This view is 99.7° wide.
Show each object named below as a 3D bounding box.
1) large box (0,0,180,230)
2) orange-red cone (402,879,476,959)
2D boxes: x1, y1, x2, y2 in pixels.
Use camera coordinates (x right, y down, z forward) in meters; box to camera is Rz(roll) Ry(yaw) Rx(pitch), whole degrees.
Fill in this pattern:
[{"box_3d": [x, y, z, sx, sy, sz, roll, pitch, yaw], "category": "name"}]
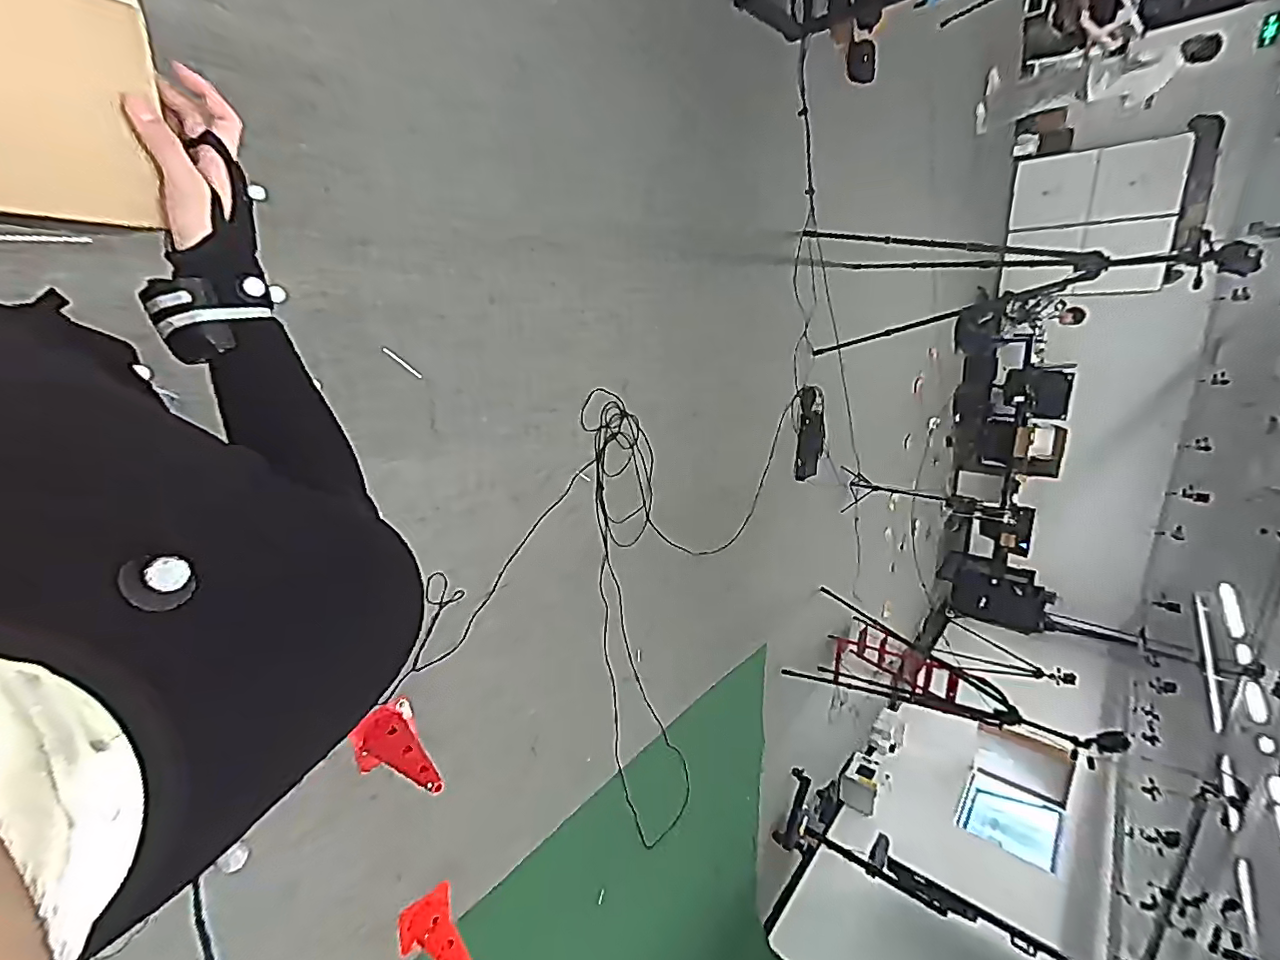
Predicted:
[{"box_3d": [-0.612, -0.356, 0.349, 0.408, 0.320, 0.320, -16, 118, -45], "category": "large box"}, {"box_3d": [-0.688, 1.690, 1.968, 0.199, 0.360, 0.198, -11, 109, -49], "category": "orange-red cone"}]
